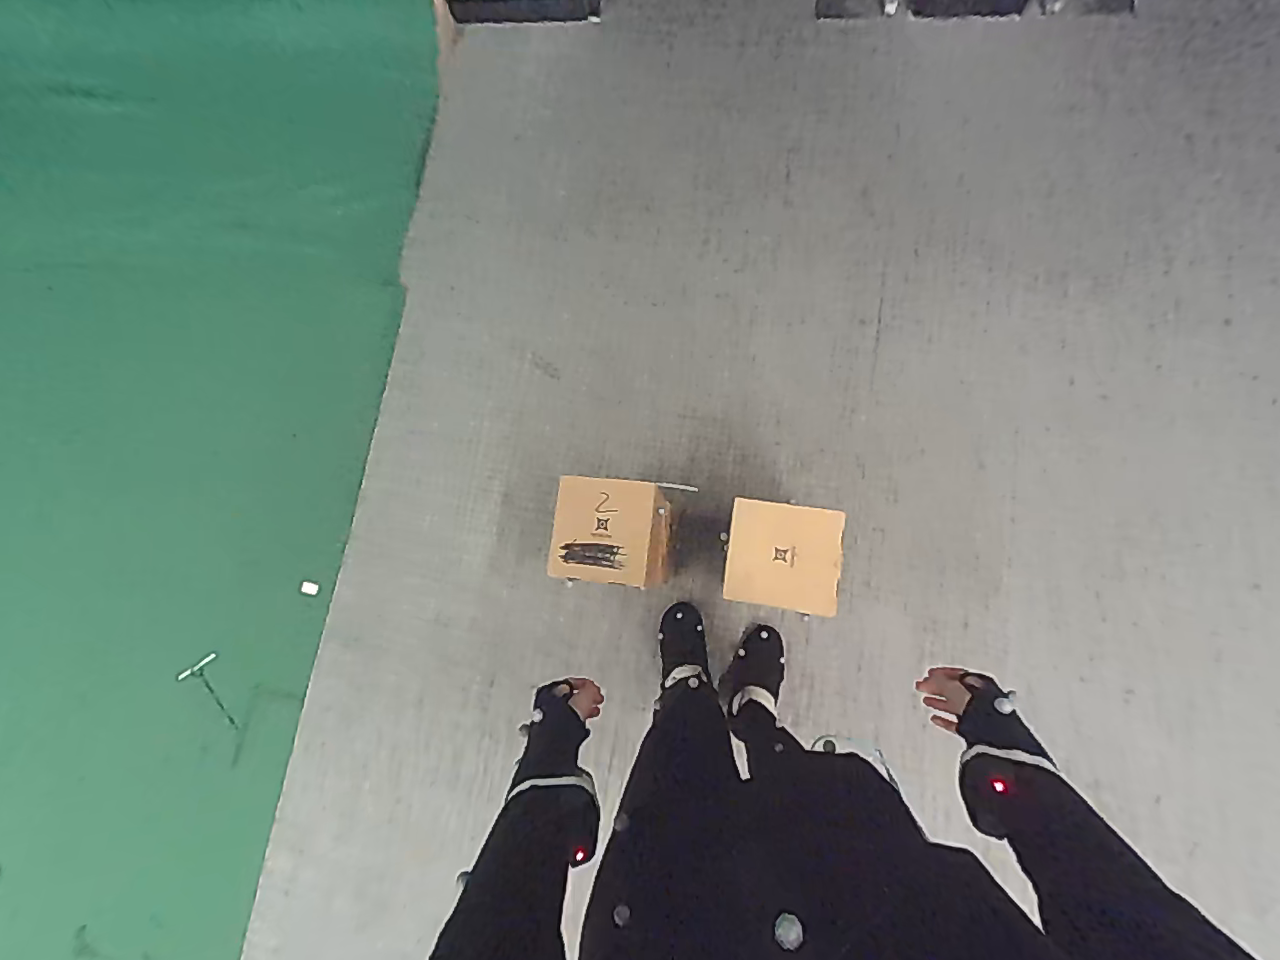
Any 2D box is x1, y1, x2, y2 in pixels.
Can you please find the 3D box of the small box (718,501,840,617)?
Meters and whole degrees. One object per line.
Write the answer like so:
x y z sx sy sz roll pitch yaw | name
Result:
0.234 0.140 0.940 0.179 0.176 0.168 8 80 9 | small box

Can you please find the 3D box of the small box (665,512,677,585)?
-0.006 0.161 1.308 0.179 0.176 0.168 4 79 10 | small box

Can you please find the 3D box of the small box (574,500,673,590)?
-0.027 0.140 1.147 0.179 0.176 0.168 4 80 10 | small box
